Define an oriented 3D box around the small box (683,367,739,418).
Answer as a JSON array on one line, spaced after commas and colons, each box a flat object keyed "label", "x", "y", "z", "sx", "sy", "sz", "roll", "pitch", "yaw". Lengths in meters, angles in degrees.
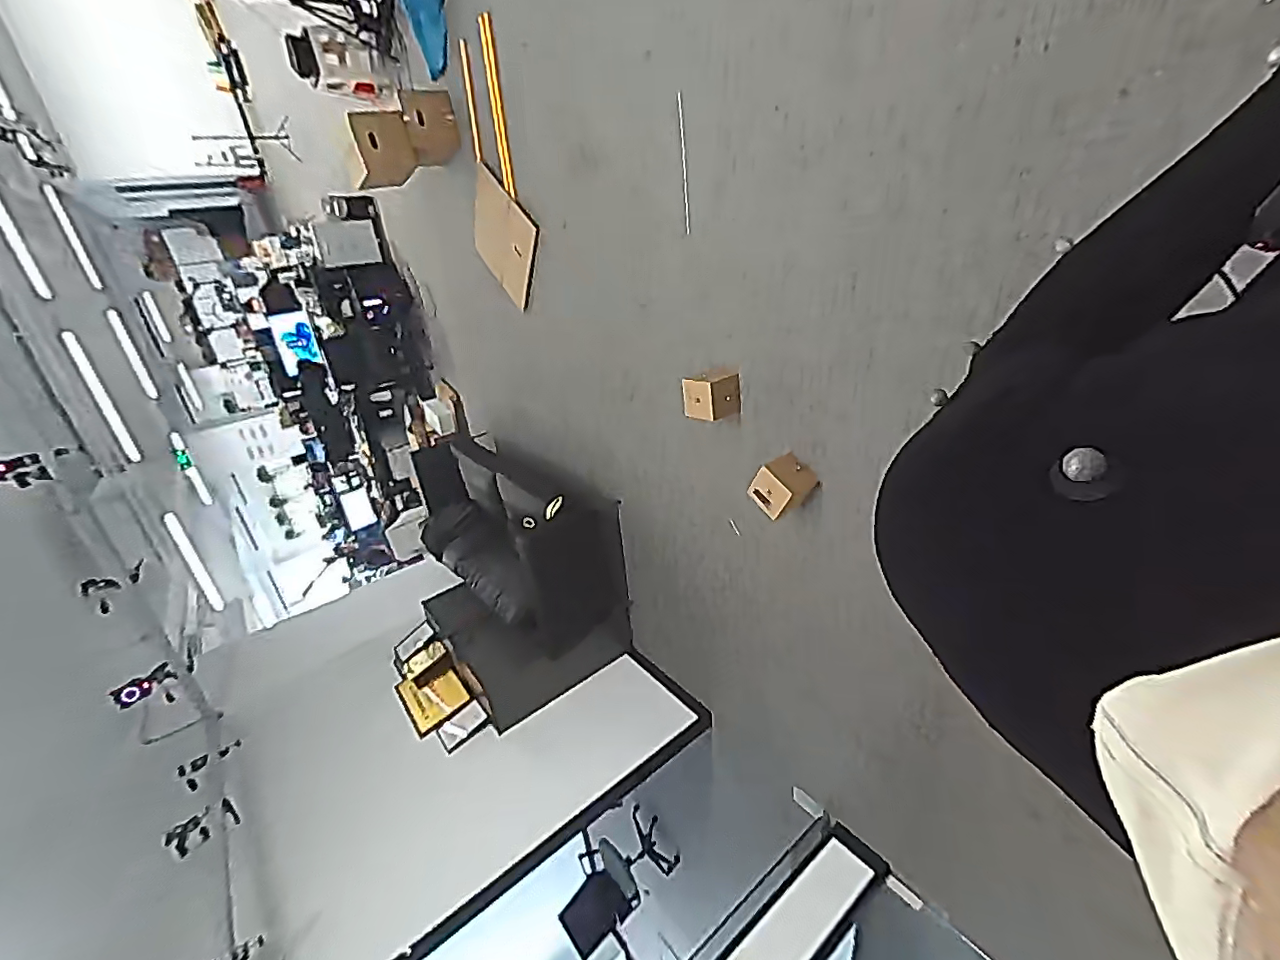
[{"label": "small box", "x": 0.307, "y": -0.376, "z": 2.295, "sx": 0.179, "sy": 0.176, "sz": 0.168, "roll": 22, "pitch": 127, "yaw": 49}]
